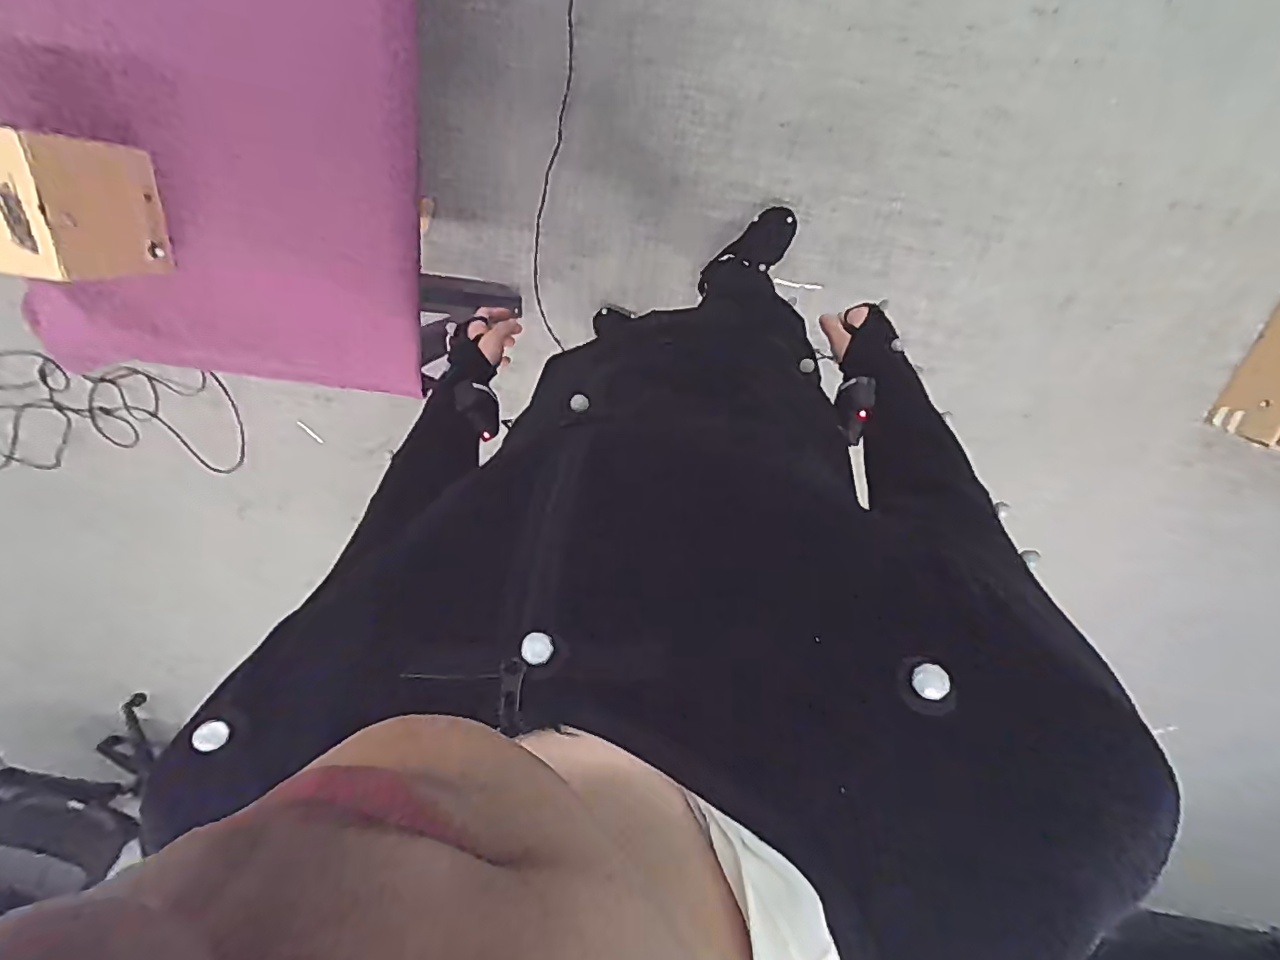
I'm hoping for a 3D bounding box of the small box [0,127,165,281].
[{"bbox_3d":[-0.793,-0.372,0.726,0.179,0.176,0.168,9,114,2],"label":"small box"}]
